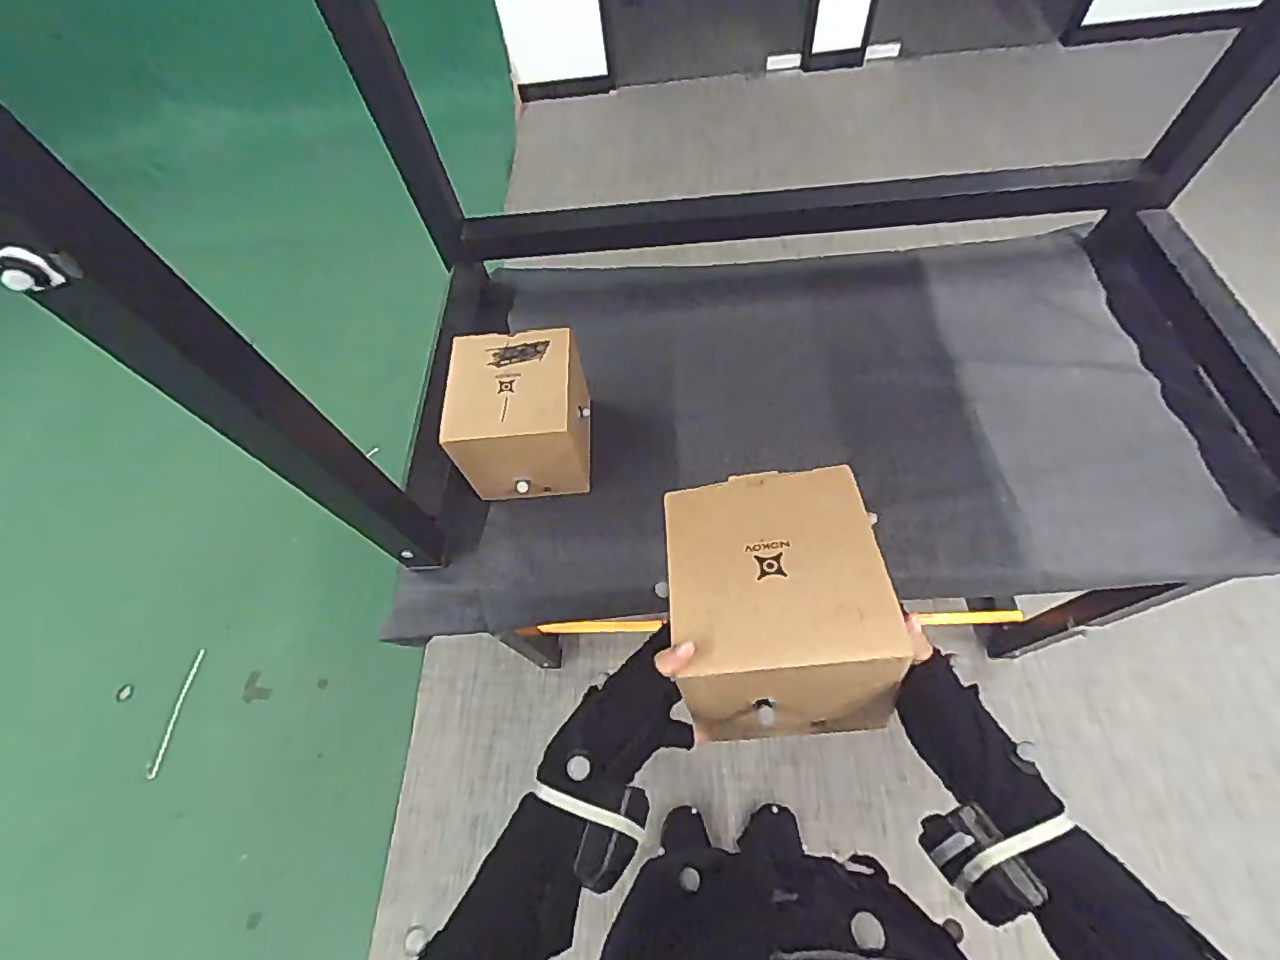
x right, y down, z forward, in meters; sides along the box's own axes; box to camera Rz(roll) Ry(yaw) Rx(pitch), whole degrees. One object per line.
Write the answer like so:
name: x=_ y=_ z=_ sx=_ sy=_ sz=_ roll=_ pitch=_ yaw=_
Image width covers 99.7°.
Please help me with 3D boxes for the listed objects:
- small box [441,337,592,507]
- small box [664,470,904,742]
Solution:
small box: x=-0.164 y=-0.079 z=0.782 sx=0.168 sy=0.176 sz=0.179 roll=-5 pitch=60 yaw=3
small box: x=0.119 y=0.120 z=0.485 sx=0.168 sy=0.176 sz=0.179 roll=-9 pitch=45 yaw=10
